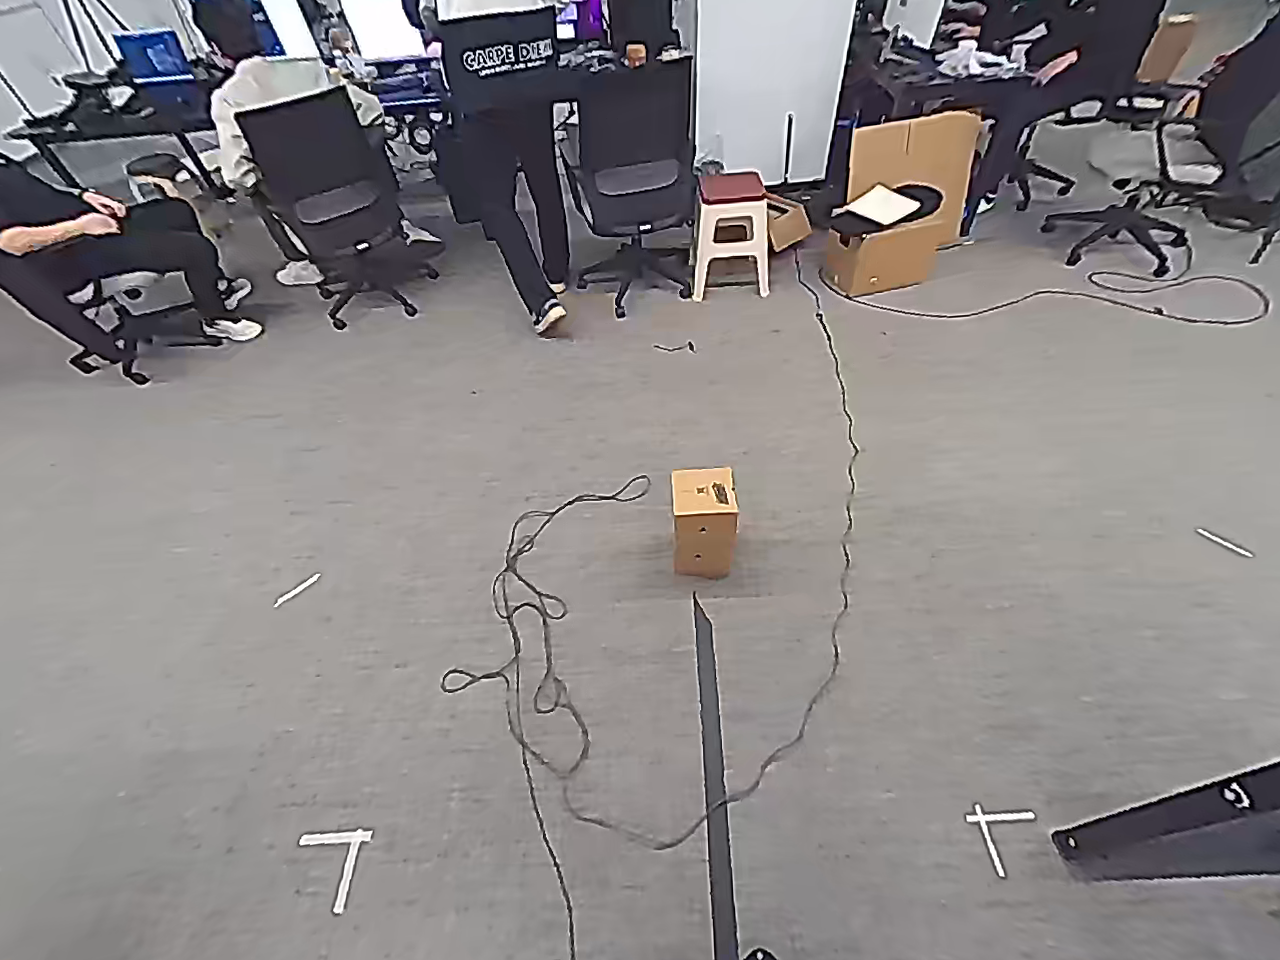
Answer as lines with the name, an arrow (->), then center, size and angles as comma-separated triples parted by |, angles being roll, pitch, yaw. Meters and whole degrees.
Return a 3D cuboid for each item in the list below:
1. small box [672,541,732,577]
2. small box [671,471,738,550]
small box -> 0.197, 0.190, 1.696 | 0.179, 0.176, 0.168 | 2, 49, 7
small box -> 0.181, 0.090, 1.565 | 0.179, 0.176, 0.168 | -3, 48, 3
